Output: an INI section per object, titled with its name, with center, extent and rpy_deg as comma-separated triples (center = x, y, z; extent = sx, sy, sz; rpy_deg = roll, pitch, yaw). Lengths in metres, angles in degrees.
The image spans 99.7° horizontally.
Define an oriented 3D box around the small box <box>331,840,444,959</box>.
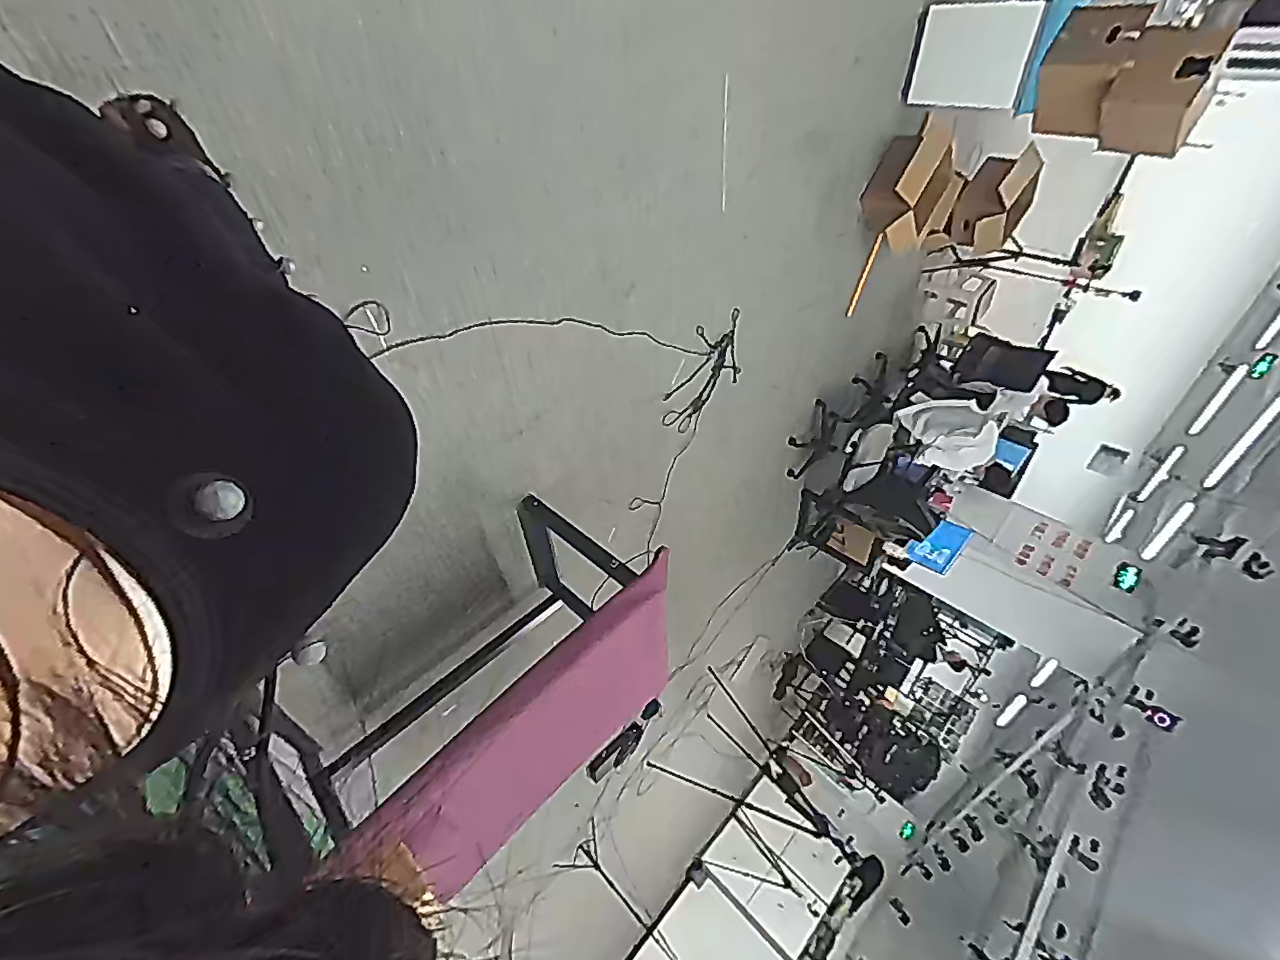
[small box]
center = -0.604, 1.012, 1.293
extent = 0.168, 0.176, 0.179
rpy_deg = -33, 137, -33
